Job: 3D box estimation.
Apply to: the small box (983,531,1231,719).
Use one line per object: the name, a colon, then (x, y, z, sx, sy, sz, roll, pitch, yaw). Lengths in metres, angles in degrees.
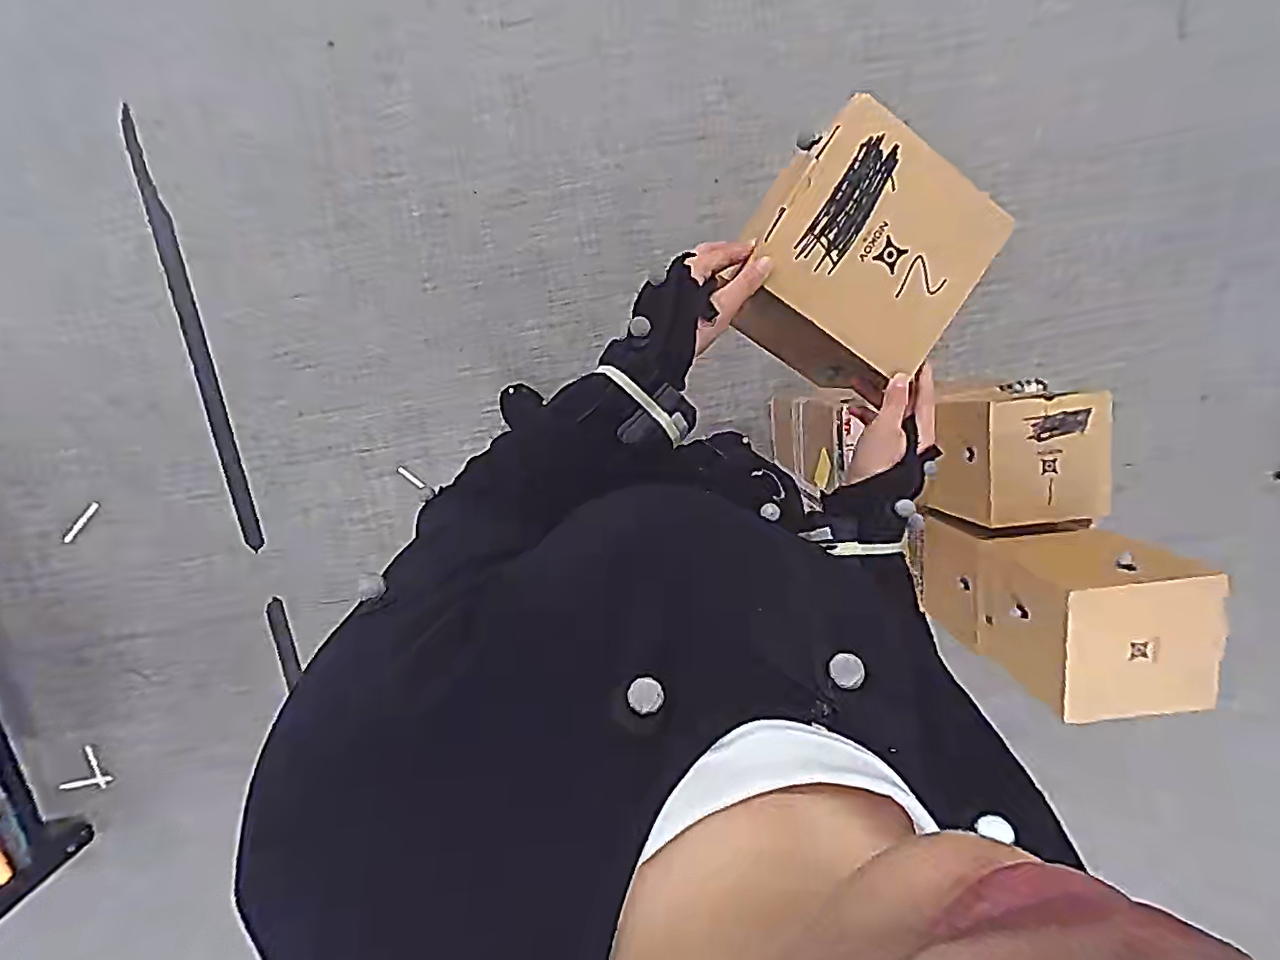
small box: (0.563, 0.170, 0.679, 0.179, 0.176, 0.168, -7, 101, 1)
